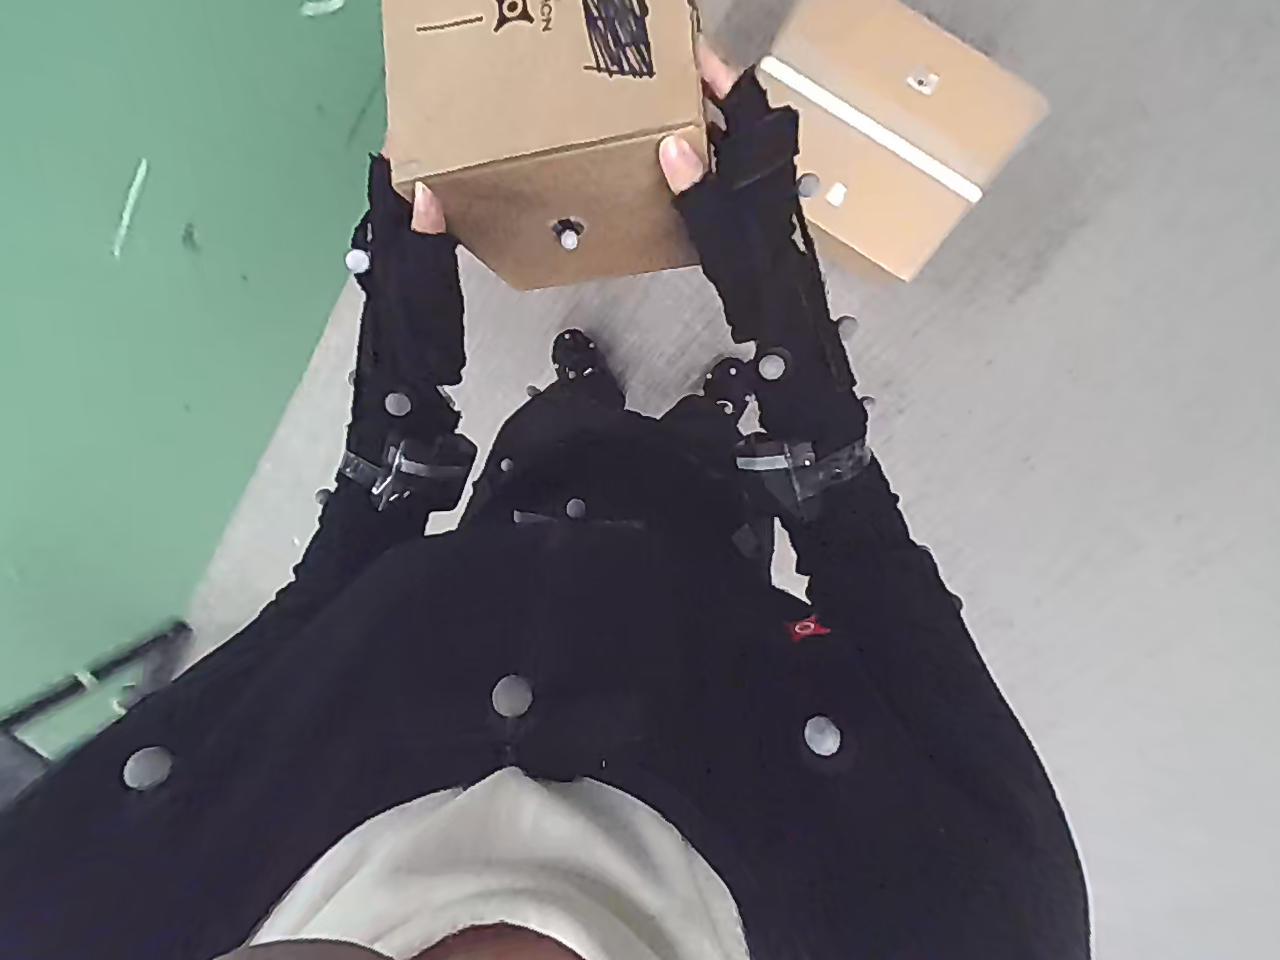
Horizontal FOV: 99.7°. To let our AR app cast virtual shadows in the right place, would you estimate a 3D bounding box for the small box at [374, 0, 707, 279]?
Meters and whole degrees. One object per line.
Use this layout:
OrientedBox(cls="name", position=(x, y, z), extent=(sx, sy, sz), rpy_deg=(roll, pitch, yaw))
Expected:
OrientedBox(cls="small box", position=(-0.049, -0.258, 0.370), extent=(0.179, 0.176, 0.168), rpy_deg=(-6, 88, 13))
